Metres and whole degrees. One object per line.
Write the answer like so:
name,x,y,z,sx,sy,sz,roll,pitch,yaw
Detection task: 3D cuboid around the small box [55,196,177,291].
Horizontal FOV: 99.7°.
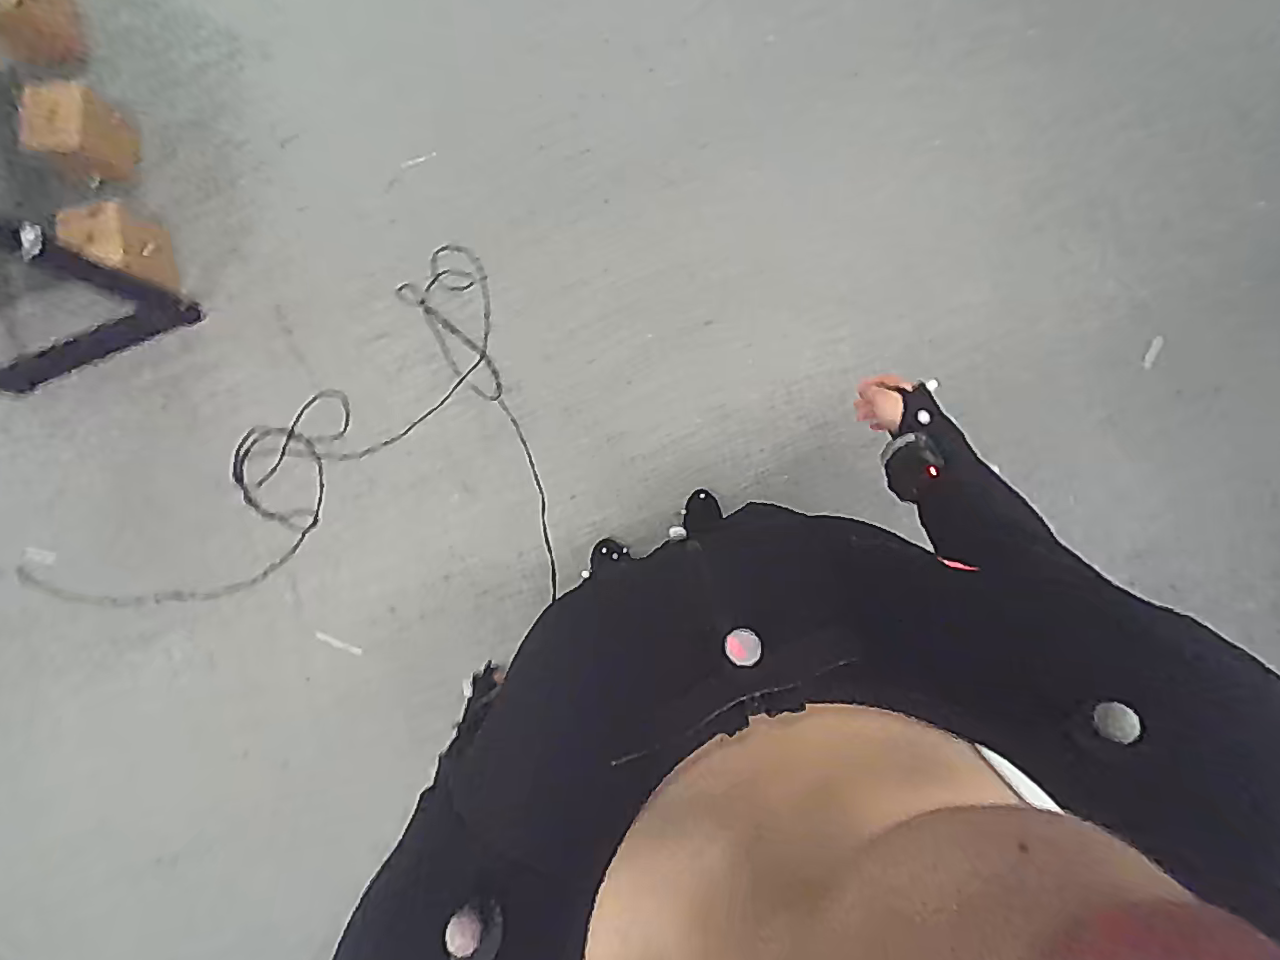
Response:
small box,-1.402,-0.627,1.459,0.168,0.176,0.179,-9,88,0

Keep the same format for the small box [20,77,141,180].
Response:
small box,-1.516,-0.954,1.476,0.168,0.176,0.179,-1,88,1
